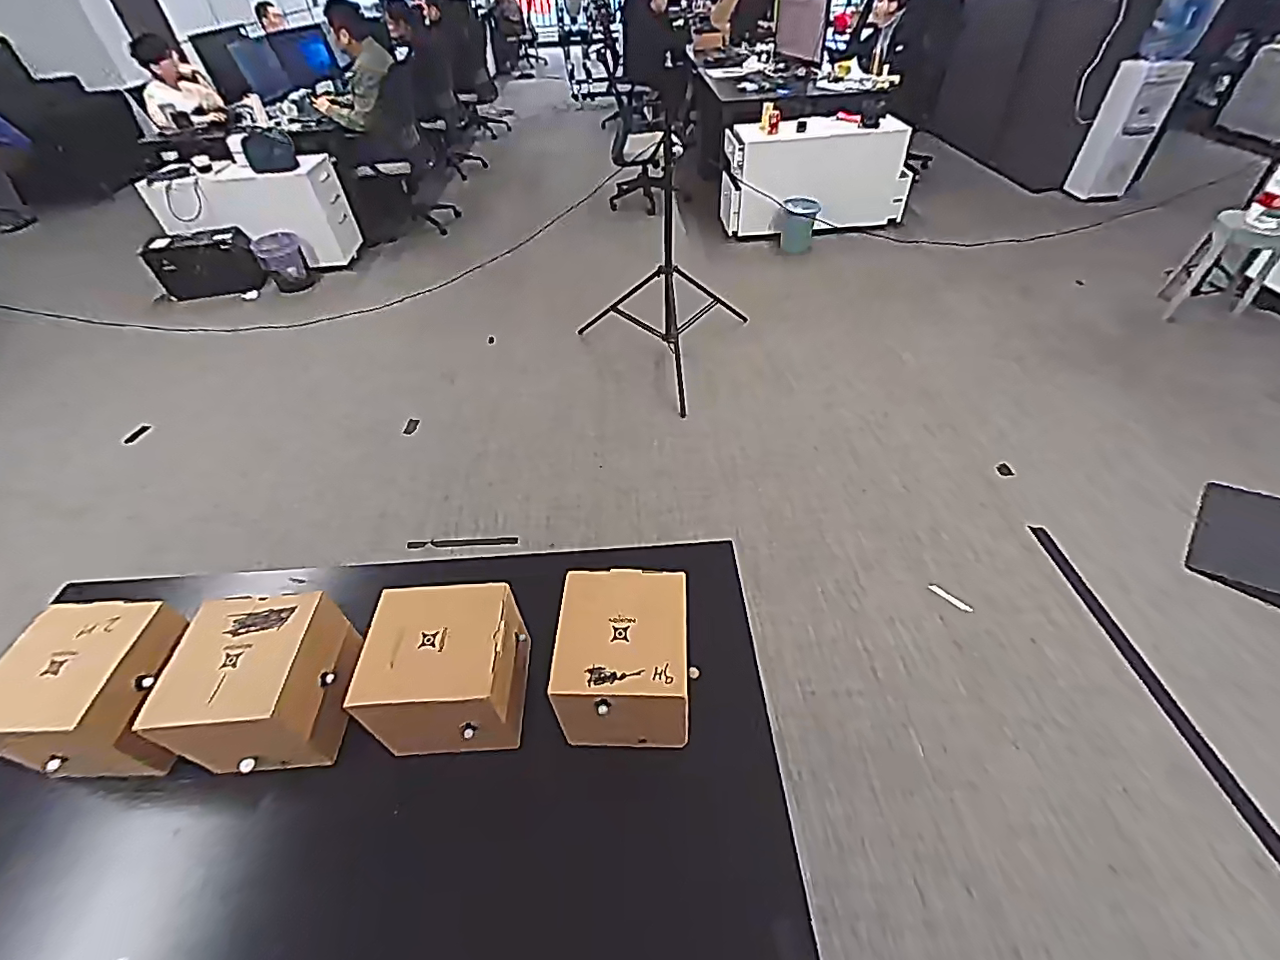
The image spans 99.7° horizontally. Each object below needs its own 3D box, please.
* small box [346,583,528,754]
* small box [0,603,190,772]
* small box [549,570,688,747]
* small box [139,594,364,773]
[{"bbox_3d":[-0.259,0.262,0.748,0.179,0.176,0.168,-5,44,1],"label":"small box"},{"bbox_3d":[-0.731,0.291,0.750,0.168,0.176,0.179,-1,45,1],"label":"small box"},{"bbox_3d":[-0.019,0.244,0.745,0.168,0.176,0.179,-1,44,4],"label":"small box"},{"bbox_3d":[-0.507,0.280,0.745,0.168,0.176,0.179,-4,47,-1],"label":"small box"}]
